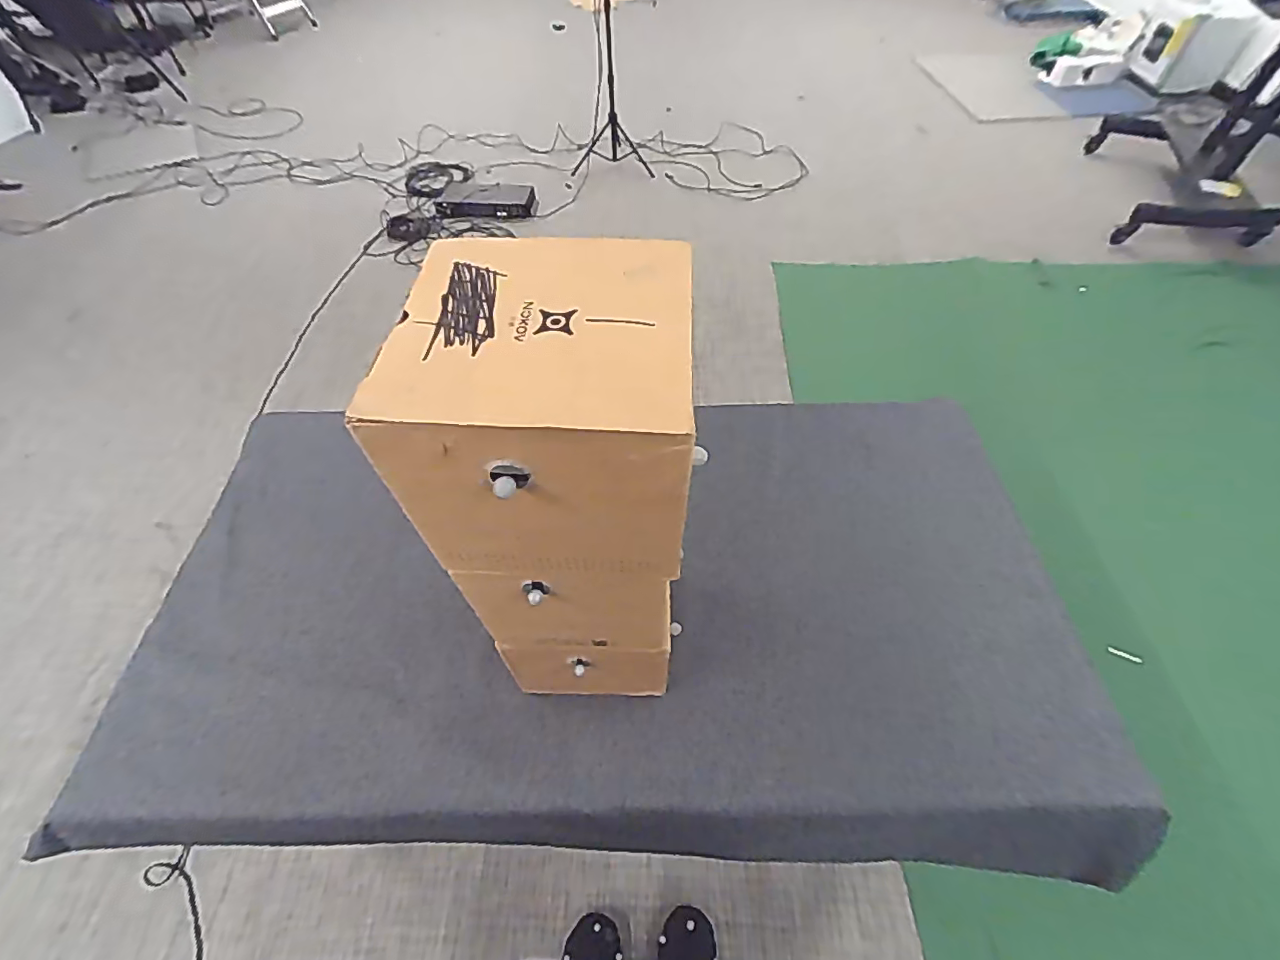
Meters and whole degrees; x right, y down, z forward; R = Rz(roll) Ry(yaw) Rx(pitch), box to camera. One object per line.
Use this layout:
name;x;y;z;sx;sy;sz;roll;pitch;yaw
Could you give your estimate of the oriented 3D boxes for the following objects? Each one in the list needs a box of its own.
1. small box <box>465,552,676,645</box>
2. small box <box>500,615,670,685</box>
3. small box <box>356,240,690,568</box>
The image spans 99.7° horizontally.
small box;-0.053;0.046;0.526;0.168;0.176;0.179;0;55;0
small box;-0.053;0.142;0.655;0.179;0.176;0.168;1;54;1
small box;-0.056;-0.048;0.387;0.179;0.176;0.168;3;55;3
